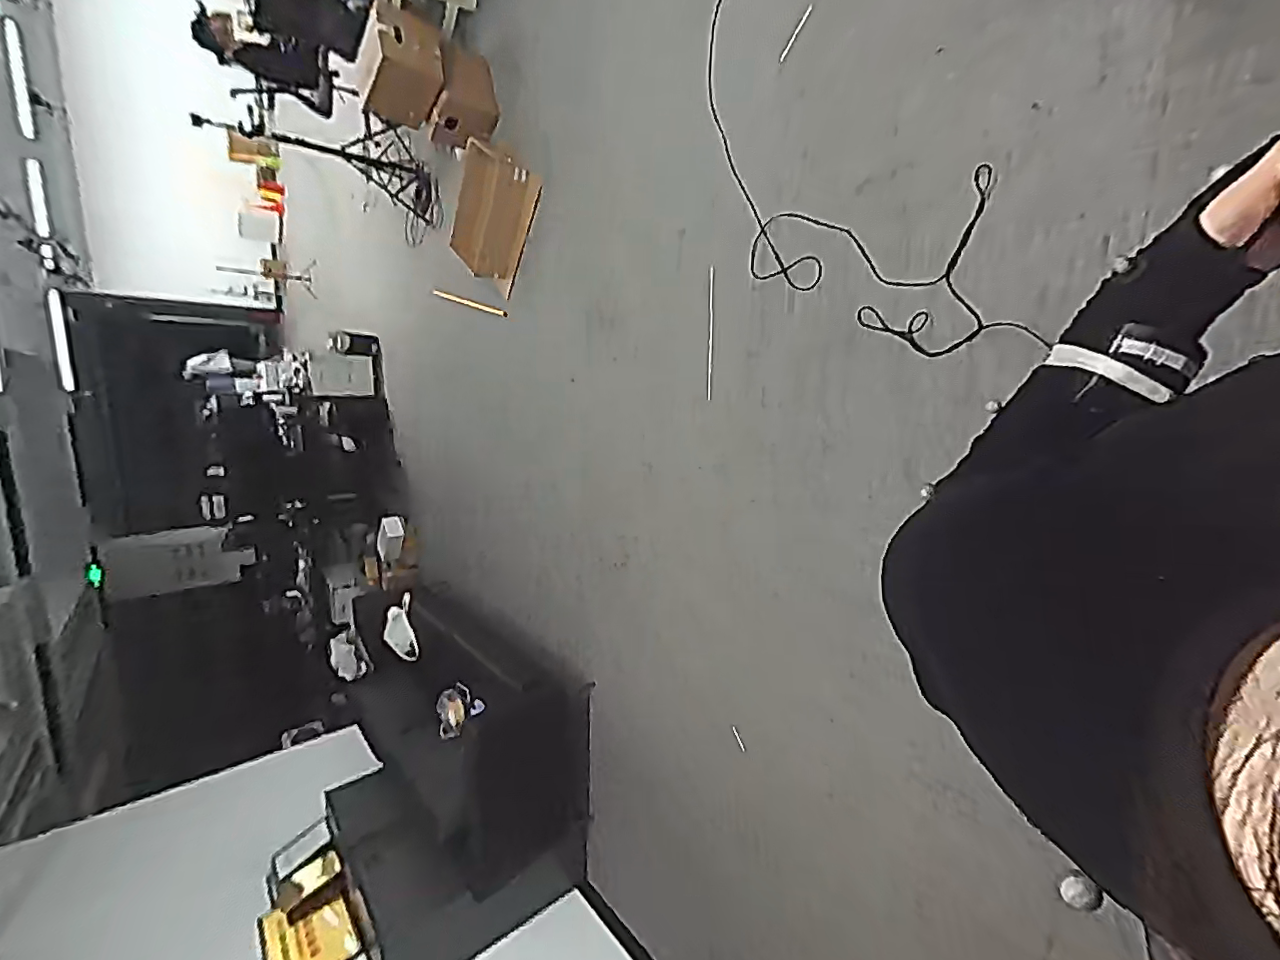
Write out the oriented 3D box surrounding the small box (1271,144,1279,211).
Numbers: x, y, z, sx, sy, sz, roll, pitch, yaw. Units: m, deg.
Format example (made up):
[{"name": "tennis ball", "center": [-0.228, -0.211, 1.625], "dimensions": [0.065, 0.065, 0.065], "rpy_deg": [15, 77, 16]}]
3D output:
[{"name": "small box", "center": [0.431, -0.197, 0.221], "dimensions": [0.179, 0.176, 0.168], "rpy_deg": [35, 122, 40]}]
